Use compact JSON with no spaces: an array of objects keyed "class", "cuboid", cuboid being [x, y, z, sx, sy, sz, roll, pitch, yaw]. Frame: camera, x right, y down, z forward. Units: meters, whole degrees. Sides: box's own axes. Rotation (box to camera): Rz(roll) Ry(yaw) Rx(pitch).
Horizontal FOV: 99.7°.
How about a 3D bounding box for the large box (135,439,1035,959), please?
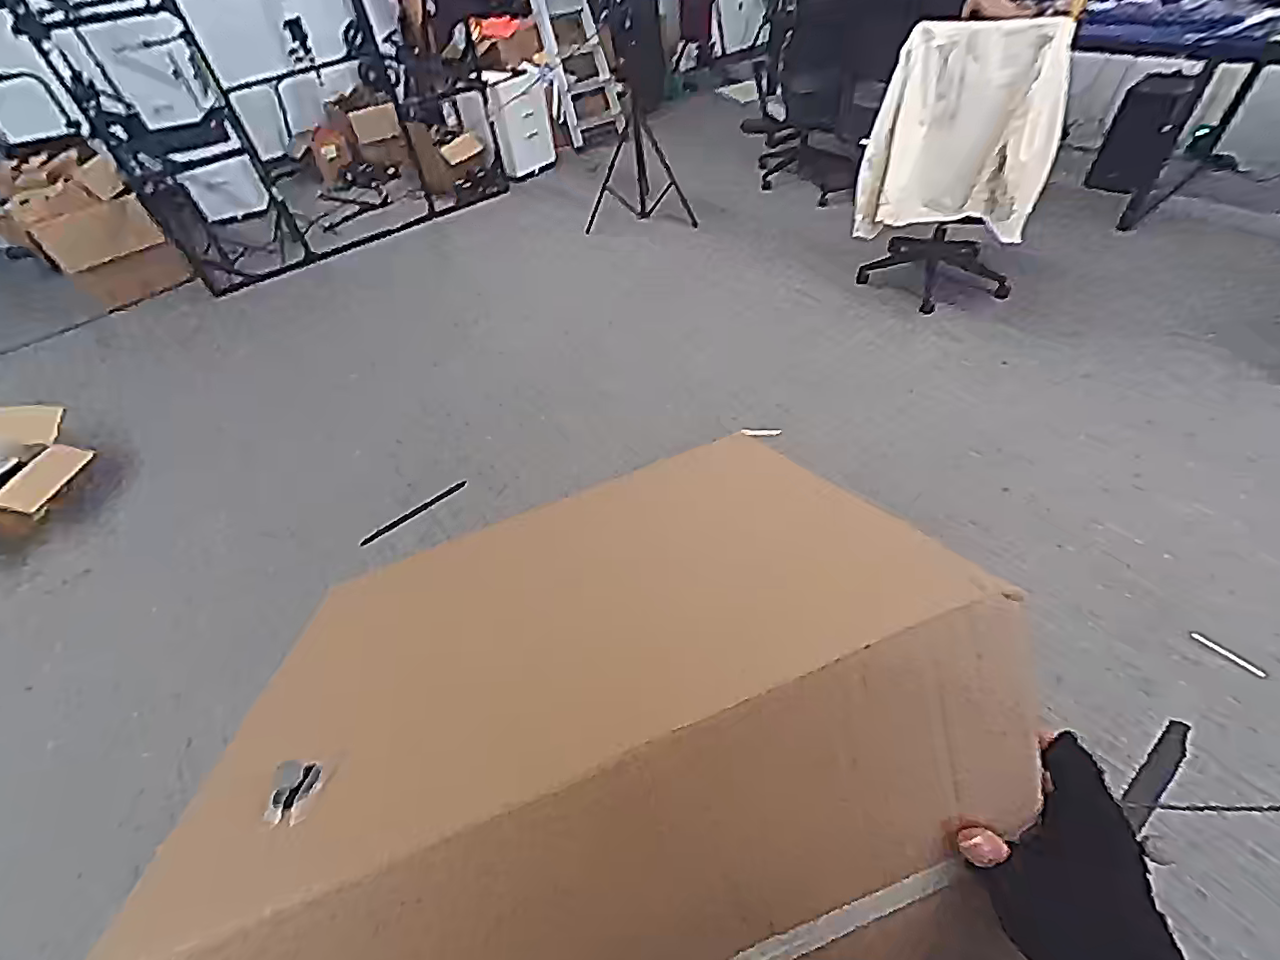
[{"class":"large box","cuboid":[-0.005,0.204,0.420,0.408,0.320,0.320,-21,21,-5]}]
